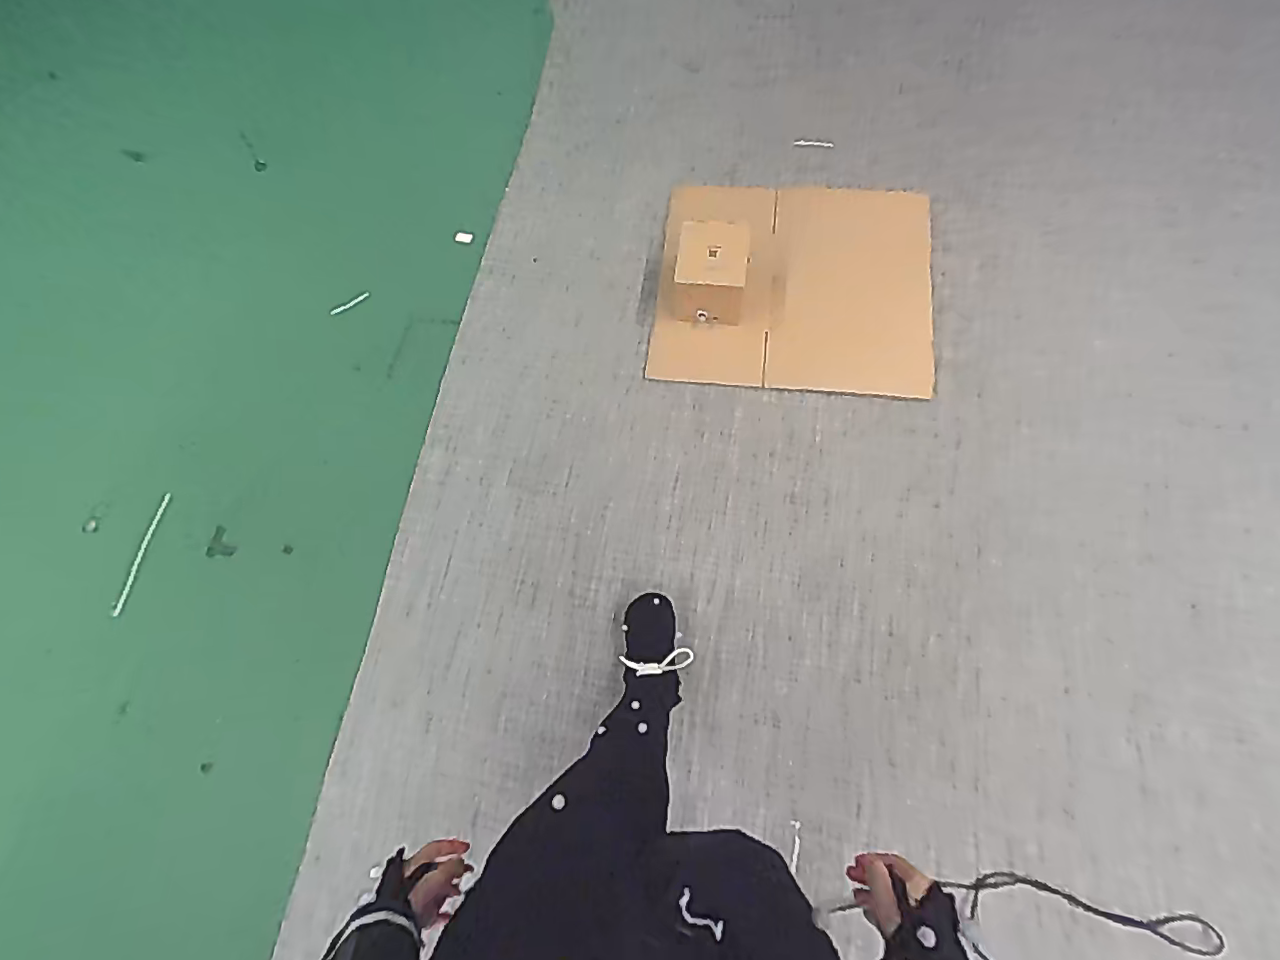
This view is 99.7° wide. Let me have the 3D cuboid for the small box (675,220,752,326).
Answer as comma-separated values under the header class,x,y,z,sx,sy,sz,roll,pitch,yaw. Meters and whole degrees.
class,x,y,z,sx,sy,sz,roll,pitch,yaw
small box,0.180,-0.509,1.339,0.168,0.176,0.179,6,75,8
